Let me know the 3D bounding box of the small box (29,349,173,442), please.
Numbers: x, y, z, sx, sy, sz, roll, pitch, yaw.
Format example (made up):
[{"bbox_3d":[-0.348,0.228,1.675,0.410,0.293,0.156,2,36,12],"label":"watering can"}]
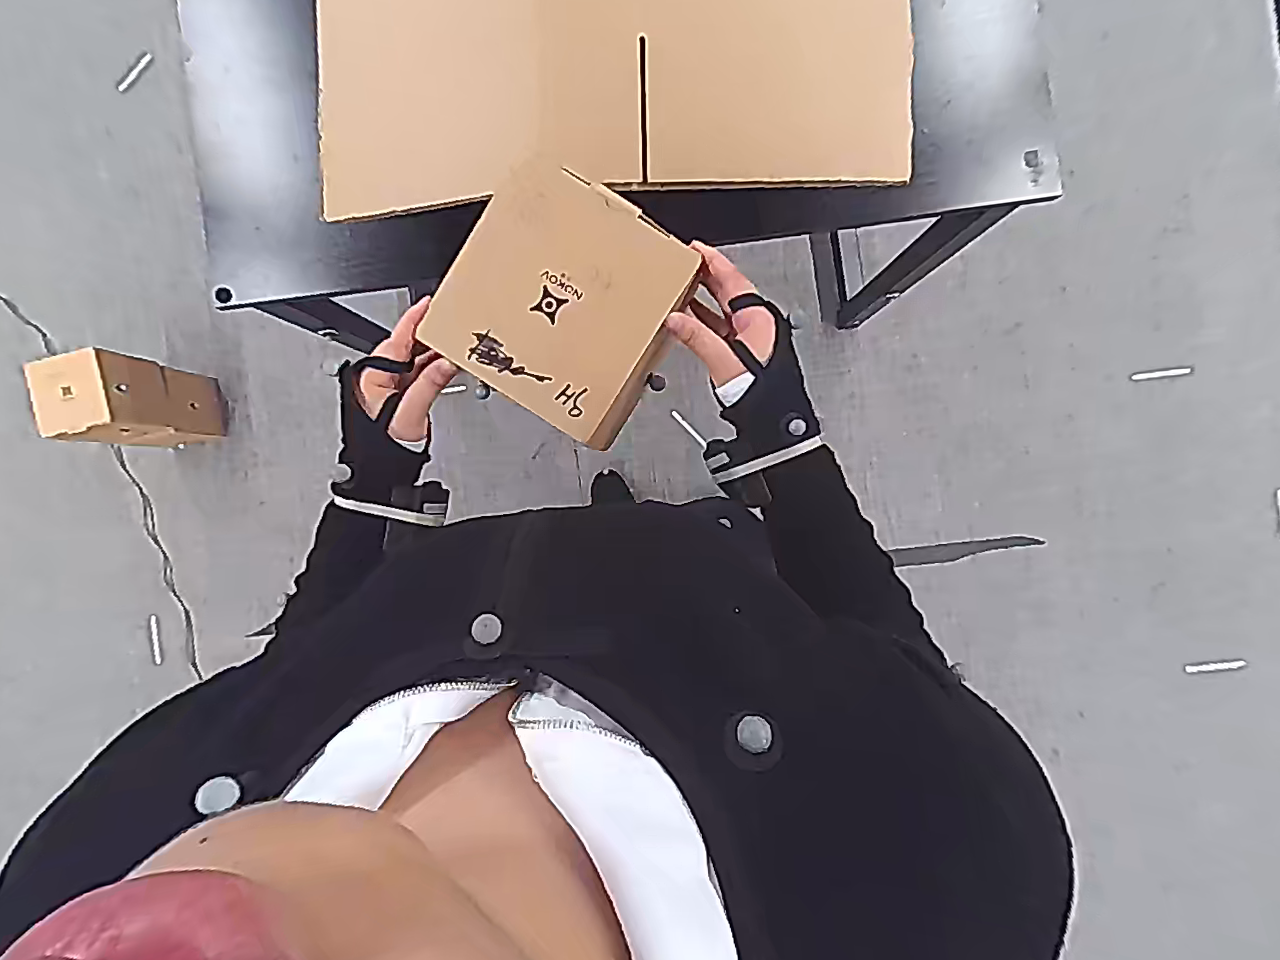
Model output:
[{"bbox_3d":[-1.268,-0.191,1.287,0.168,0.176,0.179,-14,88,1],"label":"small box"}]

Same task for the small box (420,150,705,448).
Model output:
[{"bbox_3d":[-0.061,-0.145,0.503,0.168,0.176,0.179,33,91,2],"label":"small box"}]

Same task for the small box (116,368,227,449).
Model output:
[{"bbox_3d":[-1.261,-0.186,1.450,0.168,0.176,0.179,-11,90,2],"label":"small box"}]
